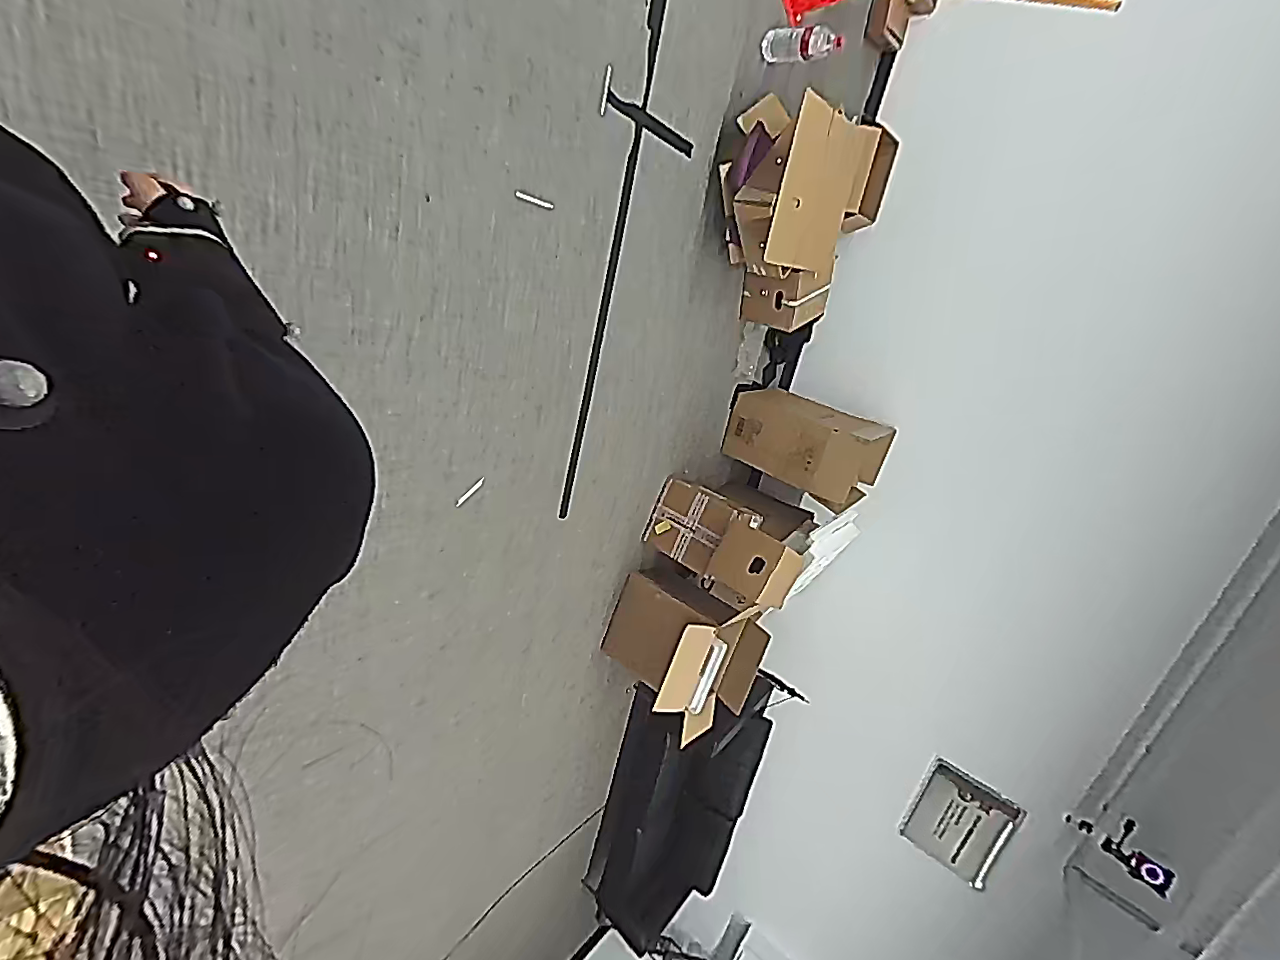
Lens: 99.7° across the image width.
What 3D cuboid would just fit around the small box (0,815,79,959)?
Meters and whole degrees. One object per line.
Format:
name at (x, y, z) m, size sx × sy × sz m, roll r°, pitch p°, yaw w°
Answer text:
small box at (-0.886, 0.593, 0.722) m, size 0.168 × 0.176 × 0.179 m, roll -4°, pitch 116°, yaw -54°
